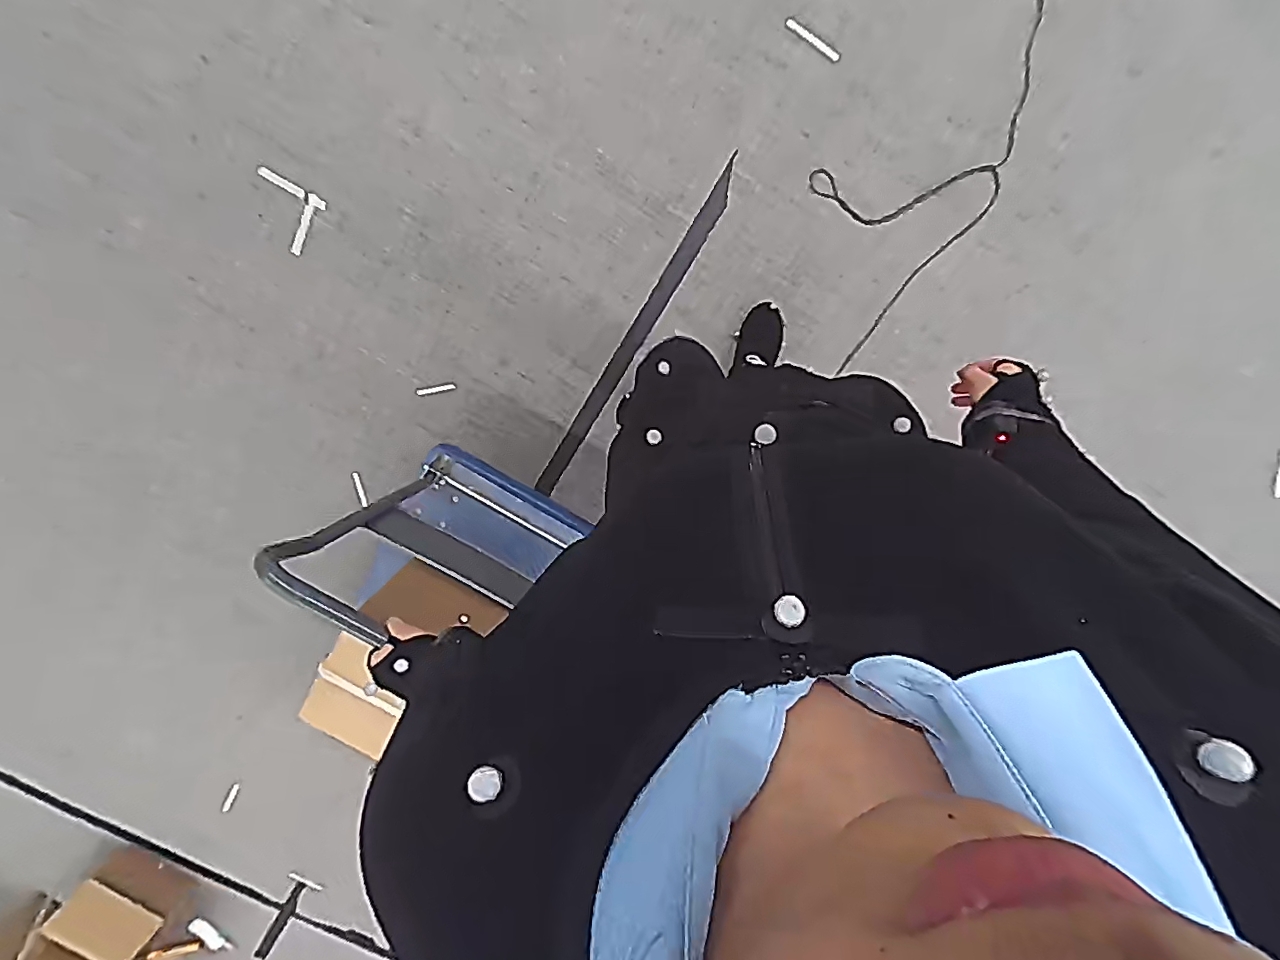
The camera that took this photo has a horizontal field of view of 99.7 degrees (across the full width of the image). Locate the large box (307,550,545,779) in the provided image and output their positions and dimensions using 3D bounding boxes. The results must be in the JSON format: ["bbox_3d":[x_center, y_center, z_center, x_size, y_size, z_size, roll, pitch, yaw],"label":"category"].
[{"bbox_3d":[-0.507,0.440,1.351,0.408,0.320,0.320,32,106,-7],"label":"large box"}]
